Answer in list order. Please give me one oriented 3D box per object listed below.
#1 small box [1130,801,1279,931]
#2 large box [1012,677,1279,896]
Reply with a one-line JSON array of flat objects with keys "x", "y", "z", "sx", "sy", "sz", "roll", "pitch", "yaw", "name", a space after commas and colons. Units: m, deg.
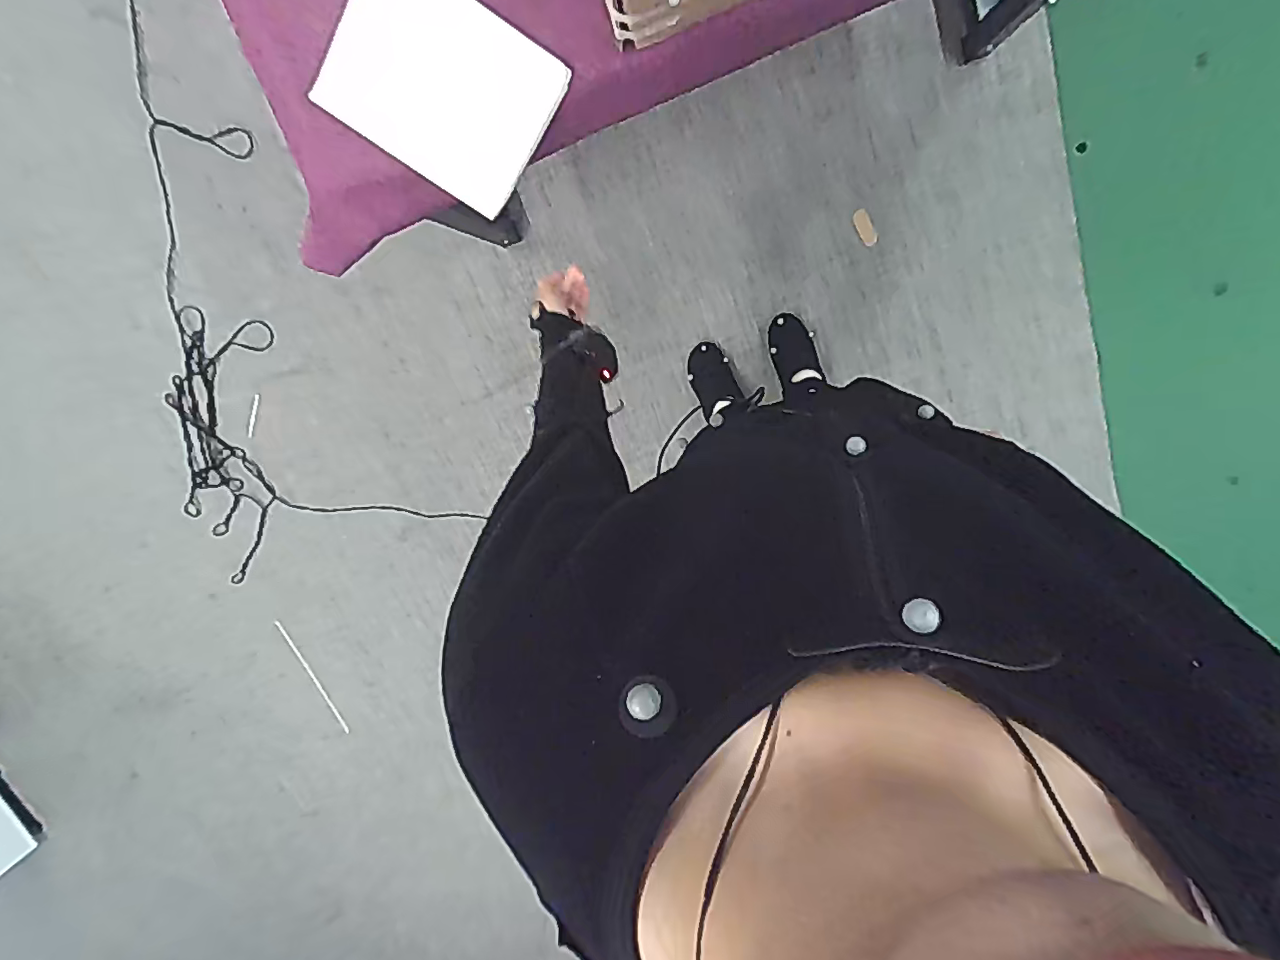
[{"x": 1.311, "y": 0.889, "z": 1.264, "sx": 0.168, "sy": 0.176, "sz": 0.179, "roll": -27, "pitch": 102, "yaw": 13, "name": "small box"}, {"x": 1.371, "y": 0.833, "z": 1.501, "sx": 0.408, "sy": 0.320, "sz": 0.320, "roll": -33, "pitch": 102, "yaw": 12, "name": "large box"}]
